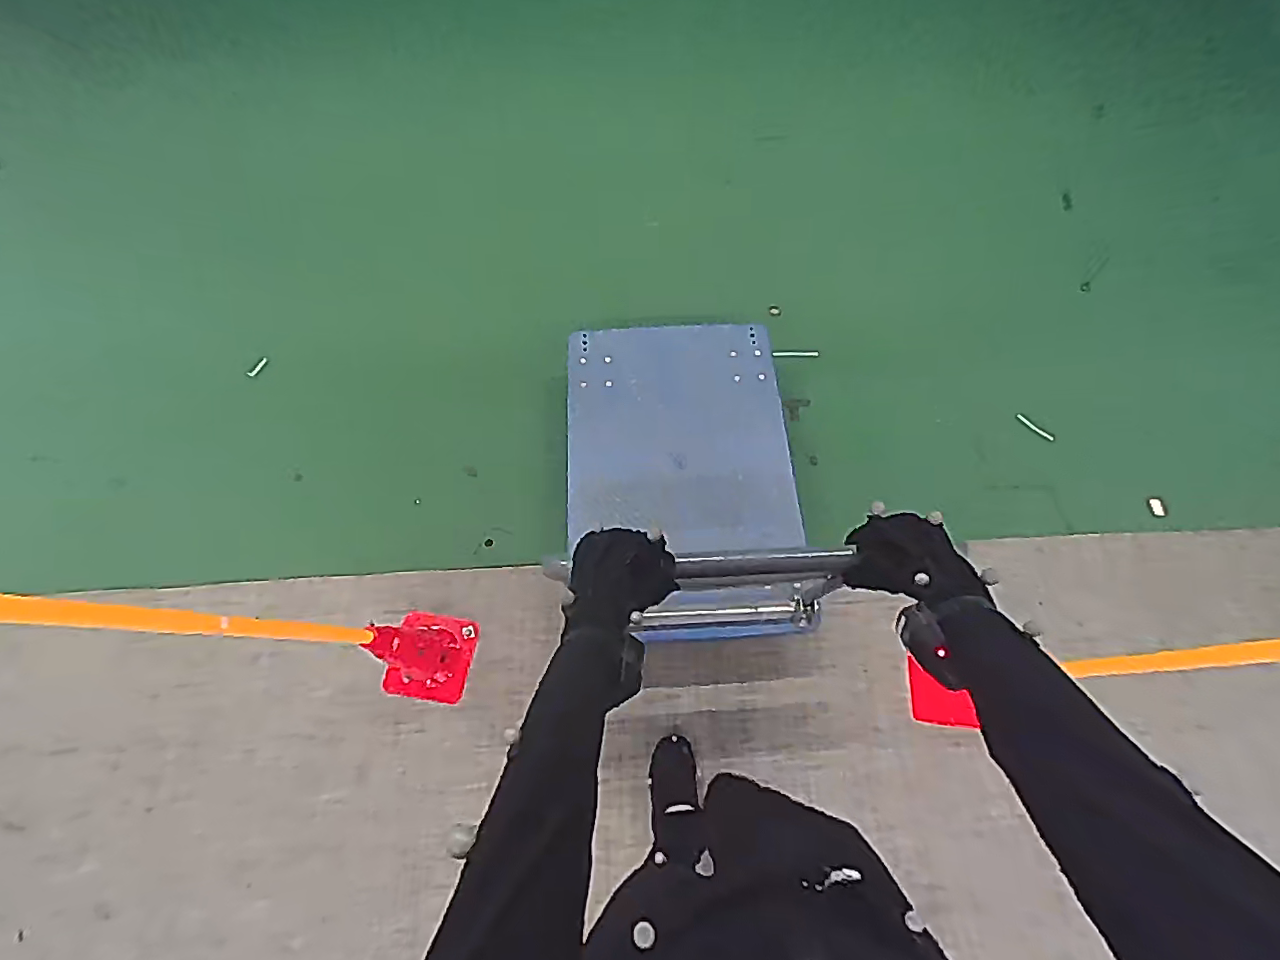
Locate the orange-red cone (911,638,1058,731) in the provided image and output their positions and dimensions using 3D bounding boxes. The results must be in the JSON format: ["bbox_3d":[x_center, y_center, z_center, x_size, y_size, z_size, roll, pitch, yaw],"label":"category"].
[{"bbox_3d":[0.770,0.433,1.178,0.198,0.360,0.199,8,67,4],"label":"orange-red cone"}]
